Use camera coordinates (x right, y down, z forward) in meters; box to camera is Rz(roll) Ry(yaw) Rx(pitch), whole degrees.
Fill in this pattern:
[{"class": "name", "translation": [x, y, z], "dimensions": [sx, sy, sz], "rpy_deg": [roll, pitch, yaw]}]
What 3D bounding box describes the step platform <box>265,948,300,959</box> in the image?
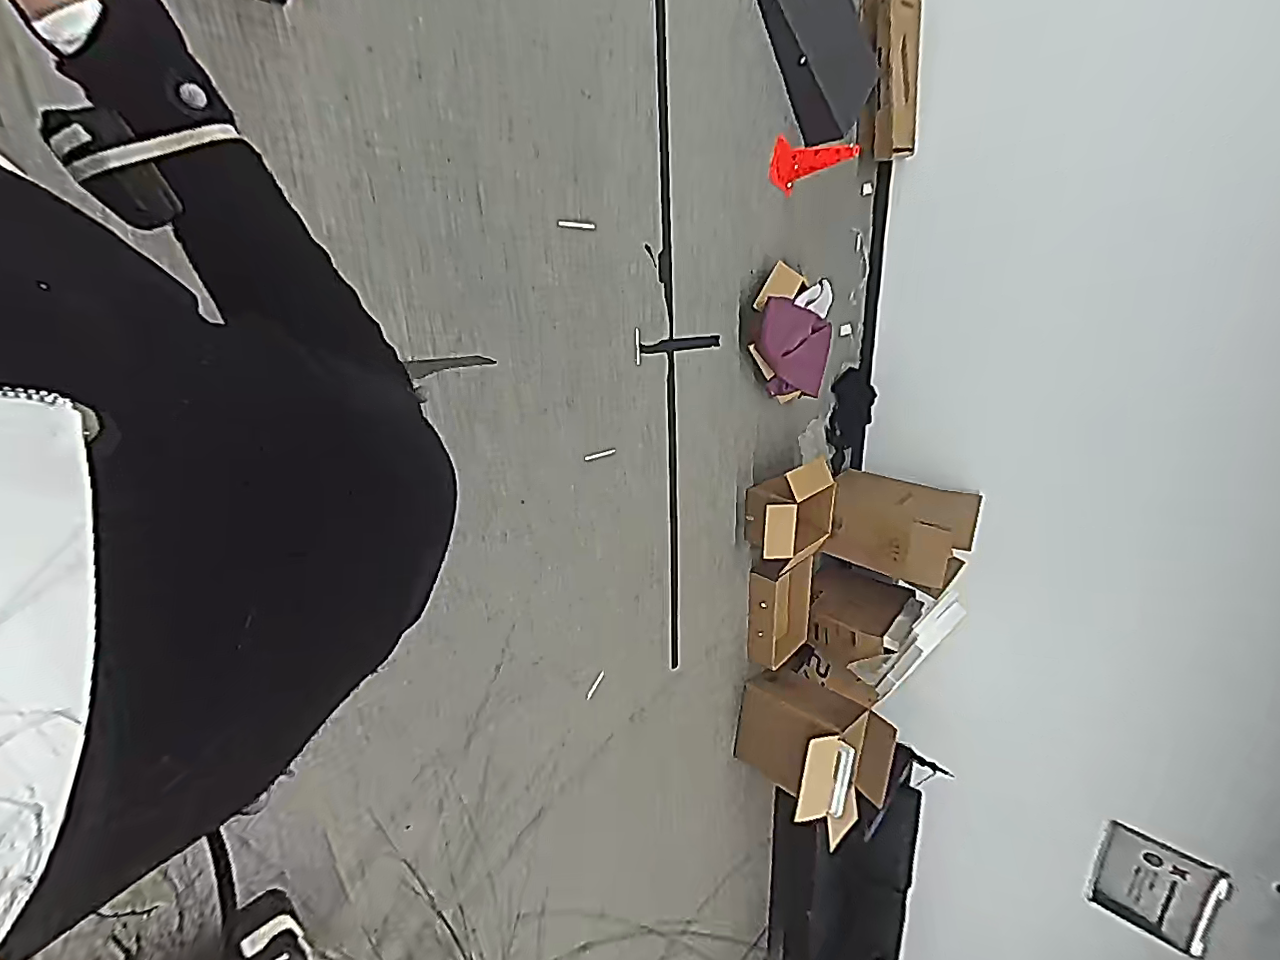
[{"class": "step platform", "translation": [-1.034, 1.386, 1.127], "dimensions": [0.684, 0.204, 0.286], "rpy_deg": [-22, 118, -41]}]
